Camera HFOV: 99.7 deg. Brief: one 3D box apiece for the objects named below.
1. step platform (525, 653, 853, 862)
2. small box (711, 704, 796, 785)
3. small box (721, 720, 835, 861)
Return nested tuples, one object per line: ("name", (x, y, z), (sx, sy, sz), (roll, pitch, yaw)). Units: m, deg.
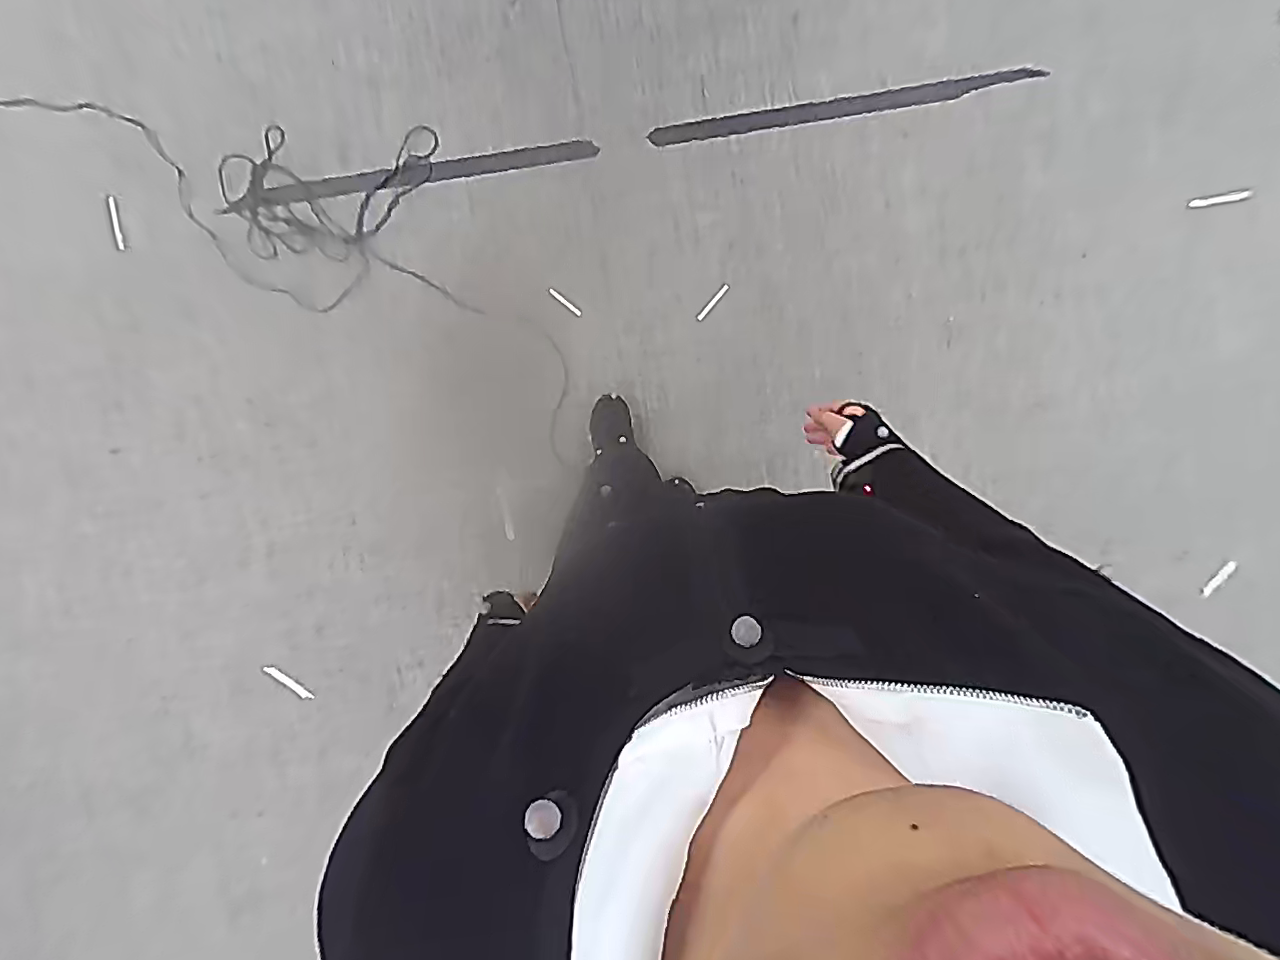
("step platform", (0.105, 0.607, 1.223), (0.684, 0.204, 0.286), (-11, 94, 2))
("small box", (0.268, 0.609, 1.258), (0.179, 0.176, 0.168), (-13, 93, 1))
("small box", (0.267, 0.618, 1.095), (0.179, 0.176, 0.168), (-14, 95, 1))
